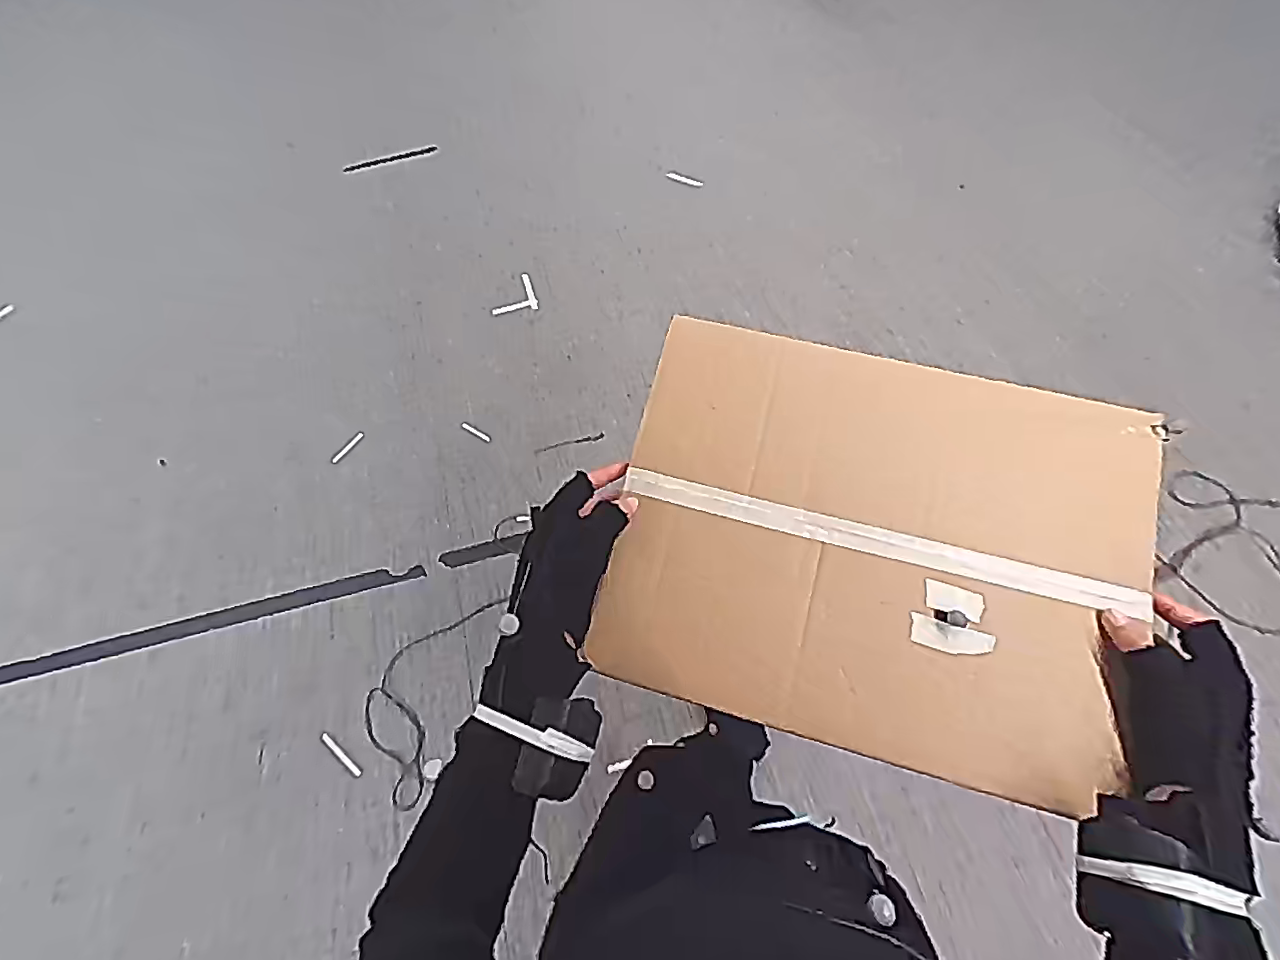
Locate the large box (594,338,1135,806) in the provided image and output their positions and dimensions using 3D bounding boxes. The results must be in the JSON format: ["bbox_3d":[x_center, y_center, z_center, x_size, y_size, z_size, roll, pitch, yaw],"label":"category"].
[{"bbox_3d":[0.198,0.086,0.595,0.408,0.320,0.320,14,80,8],"label":"large box"}]
